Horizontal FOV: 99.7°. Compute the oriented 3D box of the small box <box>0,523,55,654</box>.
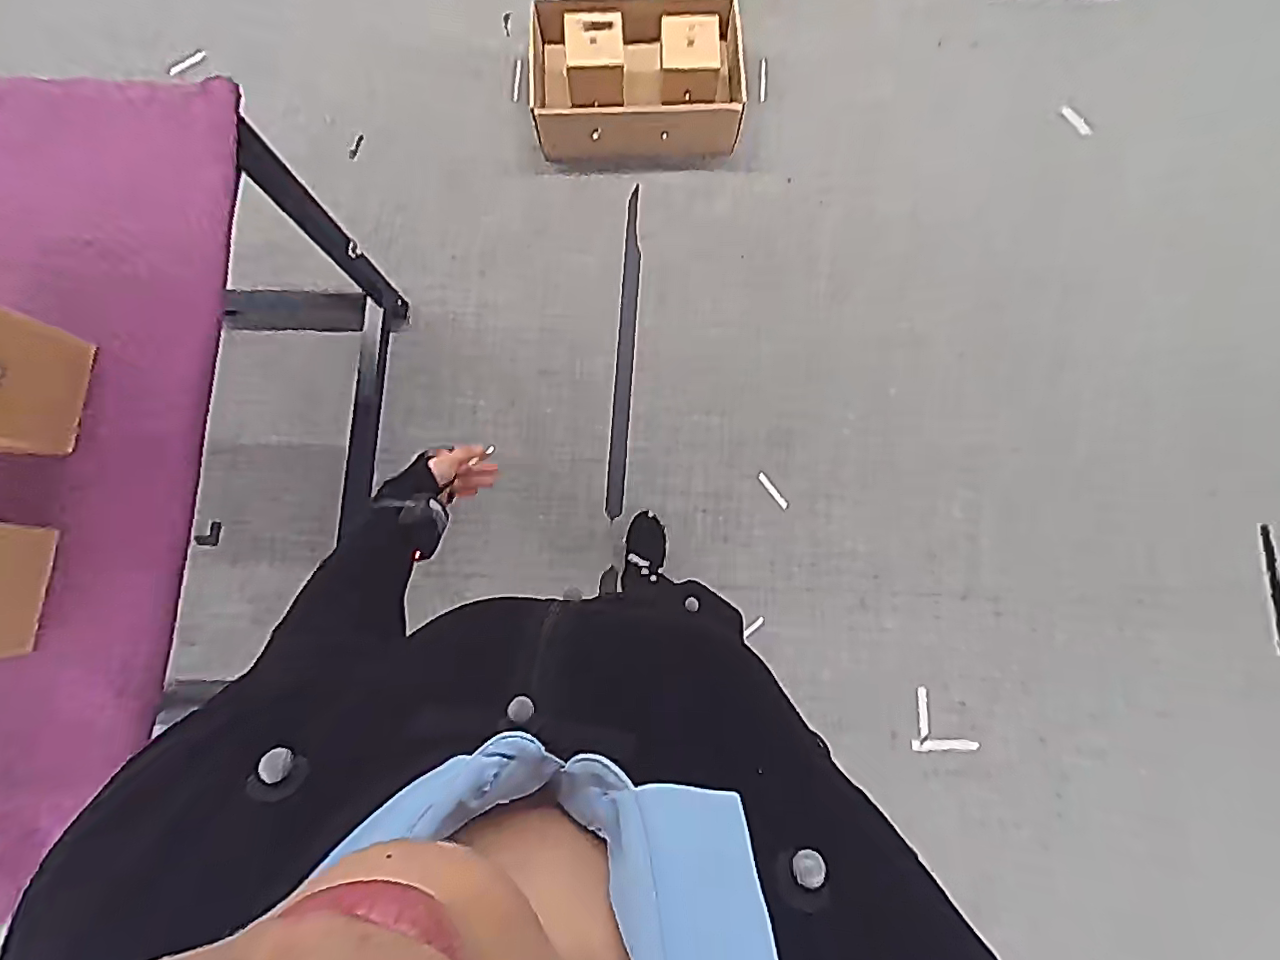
[{"bbox_3d":[-0.921,0.137,0.688,0.168,0.176,0.179,3,79,0],"label":"small box"}]

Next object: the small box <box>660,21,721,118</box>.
[{"bbox_3d":[0.148,-1.222,1.619,0.168,0.176,0.179,-1,79,0],"label":"small box"}]

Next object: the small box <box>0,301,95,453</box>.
[{"bbox_3d":[-0.916,-0.144,0.740,0.168,0.176,0.179,3,81,0],"label":"small box"}]
